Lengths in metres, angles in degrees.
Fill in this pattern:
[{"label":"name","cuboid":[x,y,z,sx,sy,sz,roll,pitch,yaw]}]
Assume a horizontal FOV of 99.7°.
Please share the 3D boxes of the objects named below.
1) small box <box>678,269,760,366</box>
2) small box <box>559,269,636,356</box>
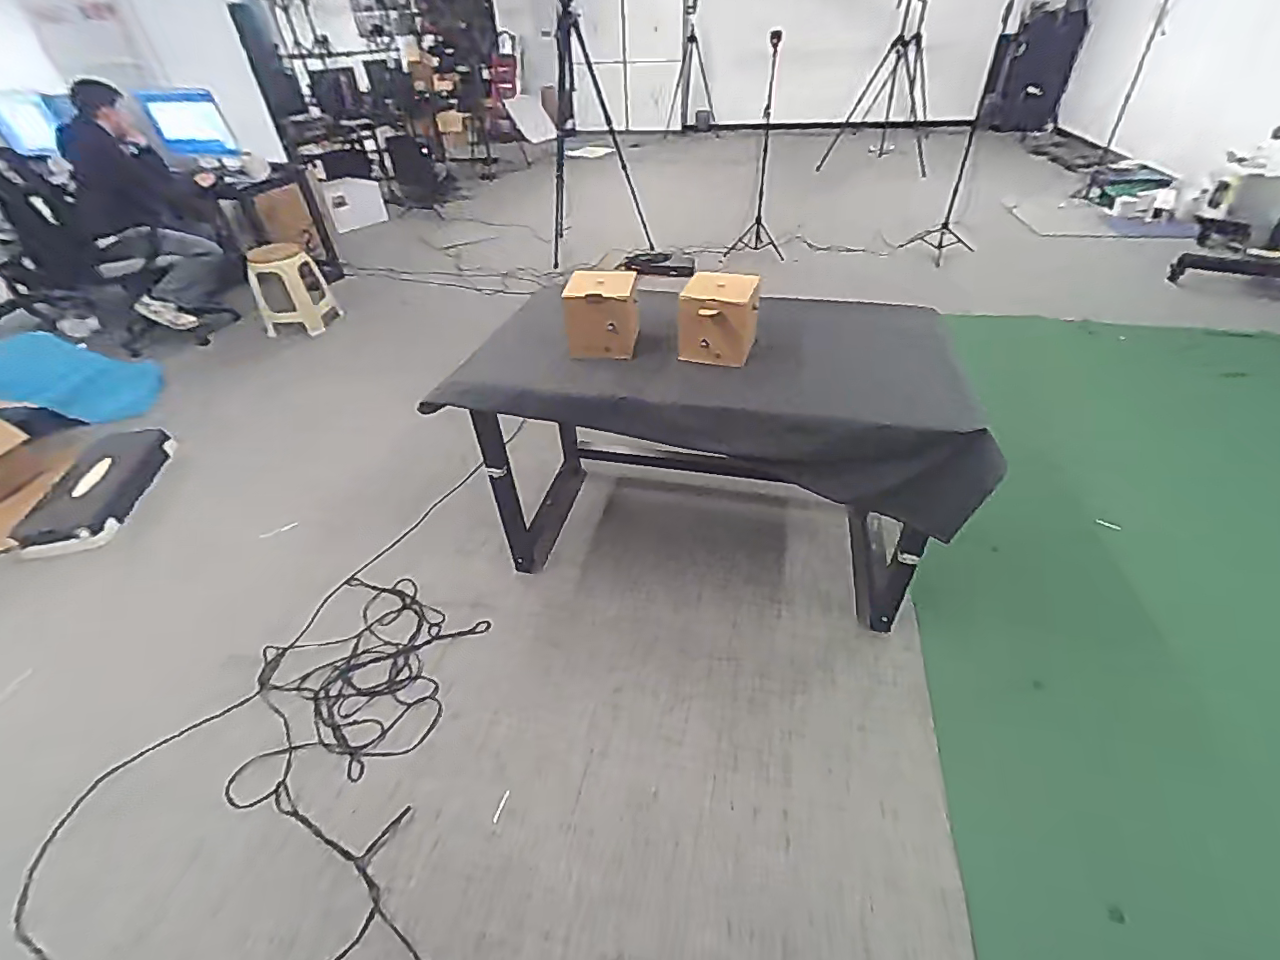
[{"label":"small box","cuboid":[0.194,-0.406,1.348,0.168,0.176,0.179,12,42,16]},{"label":"small box","cuboid":[-0.101,-0.431,1.392,0.168,0.176,0.179,3,39,5]}]
